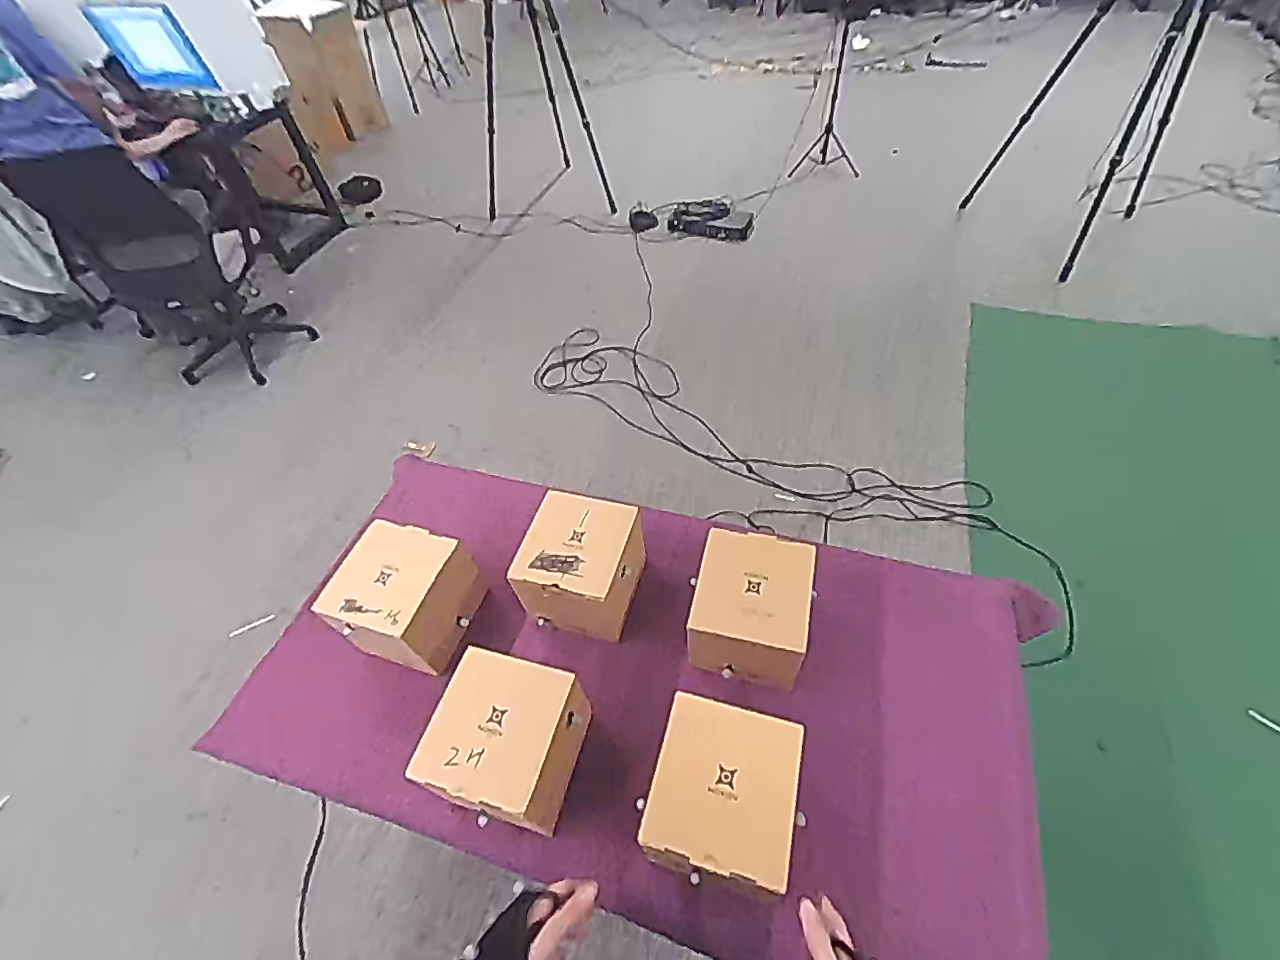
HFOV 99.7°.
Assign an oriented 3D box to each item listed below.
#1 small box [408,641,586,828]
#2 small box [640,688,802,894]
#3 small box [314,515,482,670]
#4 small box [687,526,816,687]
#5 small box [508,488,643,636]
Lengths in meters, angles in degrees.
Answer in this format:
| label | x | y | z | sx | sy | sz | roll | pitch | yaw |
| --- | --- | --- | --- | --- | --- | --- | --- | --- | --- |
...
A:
| label | x | y | z | sx | sy | sz | roll | pitch | yaw |
| --- | --- | --- | --- | --- | --- | --- | --- | --- | --- |
| small box | -0.183 | 0.359 | 0.761 | 0.168 | 0.176 | 0.179 | 11 | 52 | 14 |
| small box | 0.105 | 0.403 | 0.701 | 0.168 | 0.176 | 0.179 | 10 | 52 | 14 |
| small box | -0.389 | 0.191 | 0.912 | 0.168 | 0.176 | 0.179 | 12 | 53 | 16 |
| small box | 0.173 | 0.202 | 0.858 | 0.168 | 0.176 | 0.179 | 10 | 54 | 14 |
| small box | -0.097 | 0.144 | 0.927 | 0.168 | 0.176 | 0.179 | 11 | 53 | 13 |
